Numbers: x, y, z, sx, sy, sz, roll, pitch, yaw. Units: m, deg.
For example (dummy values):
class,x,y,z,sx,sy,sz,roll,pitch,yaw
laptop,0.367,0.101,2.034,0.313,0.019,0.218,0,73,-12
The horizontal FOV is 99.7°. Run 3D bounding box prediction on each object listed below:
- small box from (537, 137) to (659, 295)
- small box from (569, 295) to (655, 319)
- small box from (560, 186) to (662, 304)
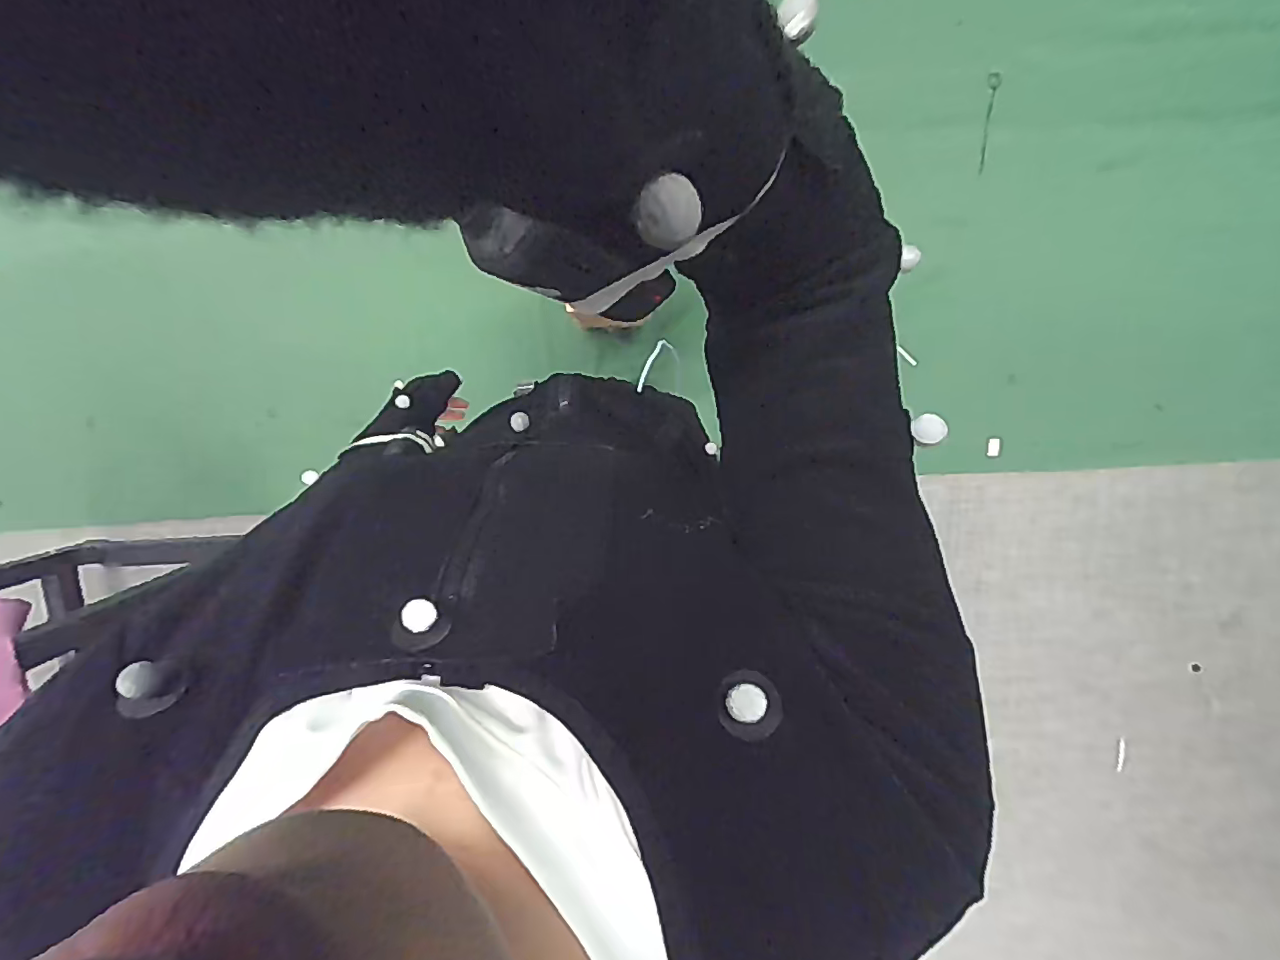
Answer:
class,x,y,z,sx,sy,sz,roll,pitch,yaw
small box,-0.058,-0.391,0.828,0.168,0.176,0.179,-3,100,1
small box,-0.058,-0.439,1.153,0.179,0.176,0.168,-3,100,0
small box,-0.053,-0.422,0.987,0.179,0.176,0.168,-1,98,-1
